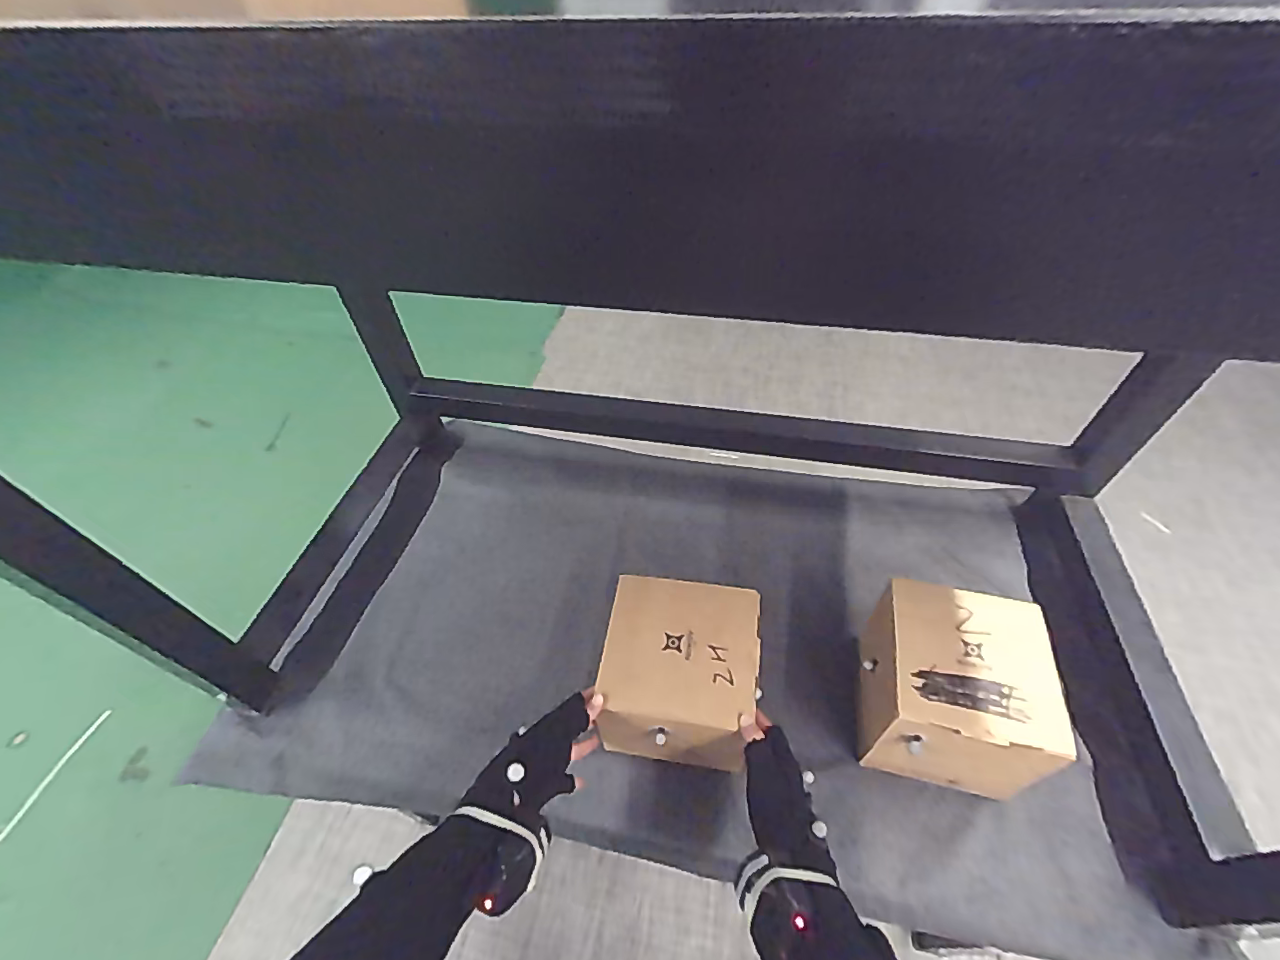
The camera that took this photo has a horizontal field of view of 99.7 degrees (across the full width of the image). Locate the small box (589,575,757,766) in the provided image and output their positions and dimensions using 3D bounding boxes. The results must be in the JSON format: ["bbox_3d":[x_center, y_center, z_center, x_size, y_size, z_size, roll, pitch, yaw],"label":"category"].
[{"bbox_3d":[0.047,0.242,0.680,0.179,0.176,0.168,6,50,9],"label":"small box"}]
